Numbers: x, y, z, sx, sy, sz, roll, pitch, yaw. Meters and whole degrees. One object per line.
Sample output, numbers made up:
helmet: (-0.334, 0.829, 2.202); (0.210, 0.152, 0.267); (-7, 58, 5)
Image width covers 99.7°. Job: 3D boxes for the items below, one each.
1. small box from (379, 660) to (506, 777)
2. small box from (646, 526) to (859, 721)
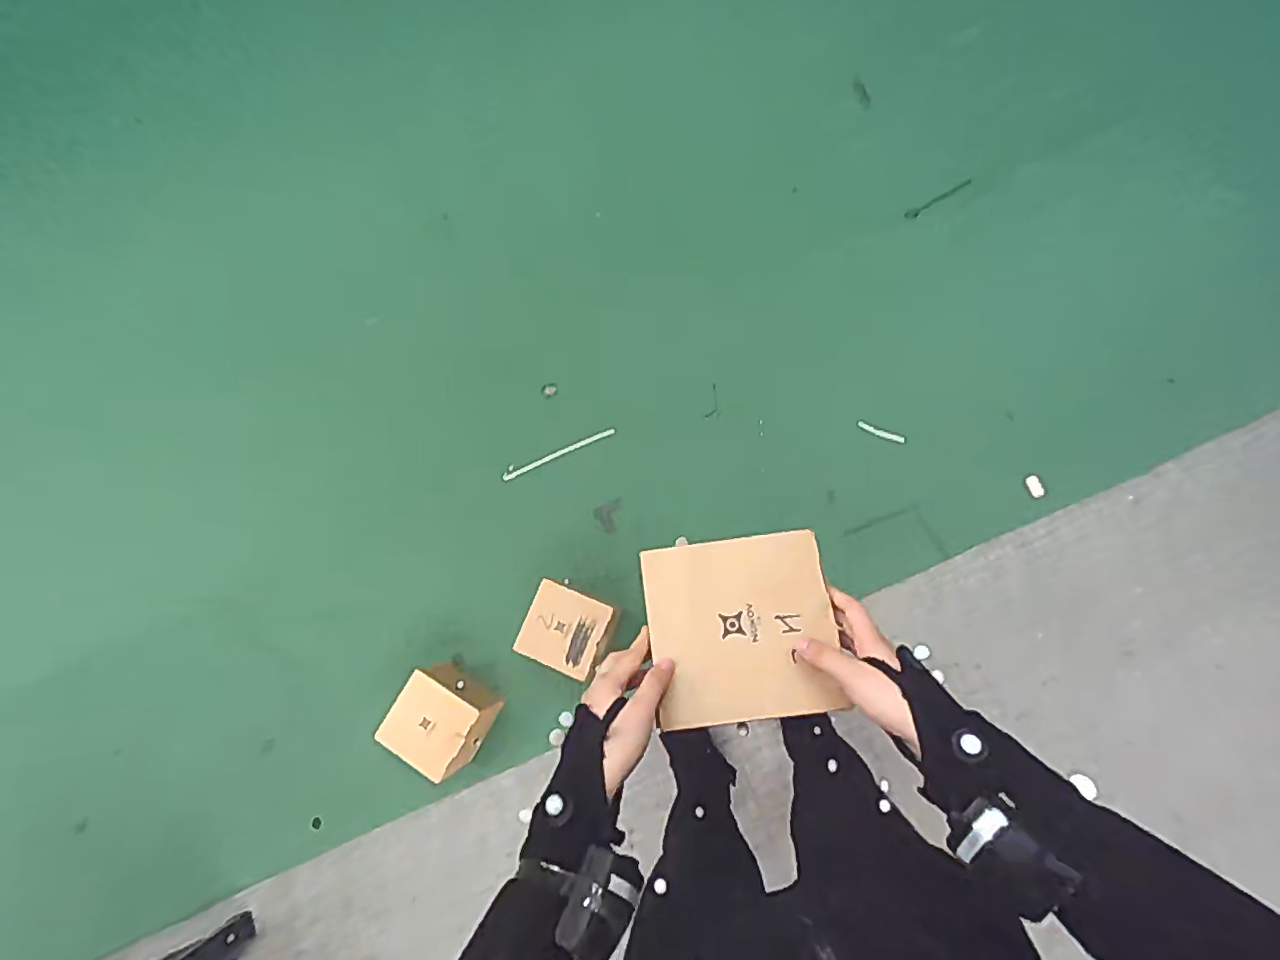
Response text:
small box: (-0.436, 0.526, 1.223); (0.179, 0.176, 0.168); (29, 82, 9)
small box: (0.106, 0.157, 0.582); (0.179, 0.176, 0.168); (-7, 71, 1)
